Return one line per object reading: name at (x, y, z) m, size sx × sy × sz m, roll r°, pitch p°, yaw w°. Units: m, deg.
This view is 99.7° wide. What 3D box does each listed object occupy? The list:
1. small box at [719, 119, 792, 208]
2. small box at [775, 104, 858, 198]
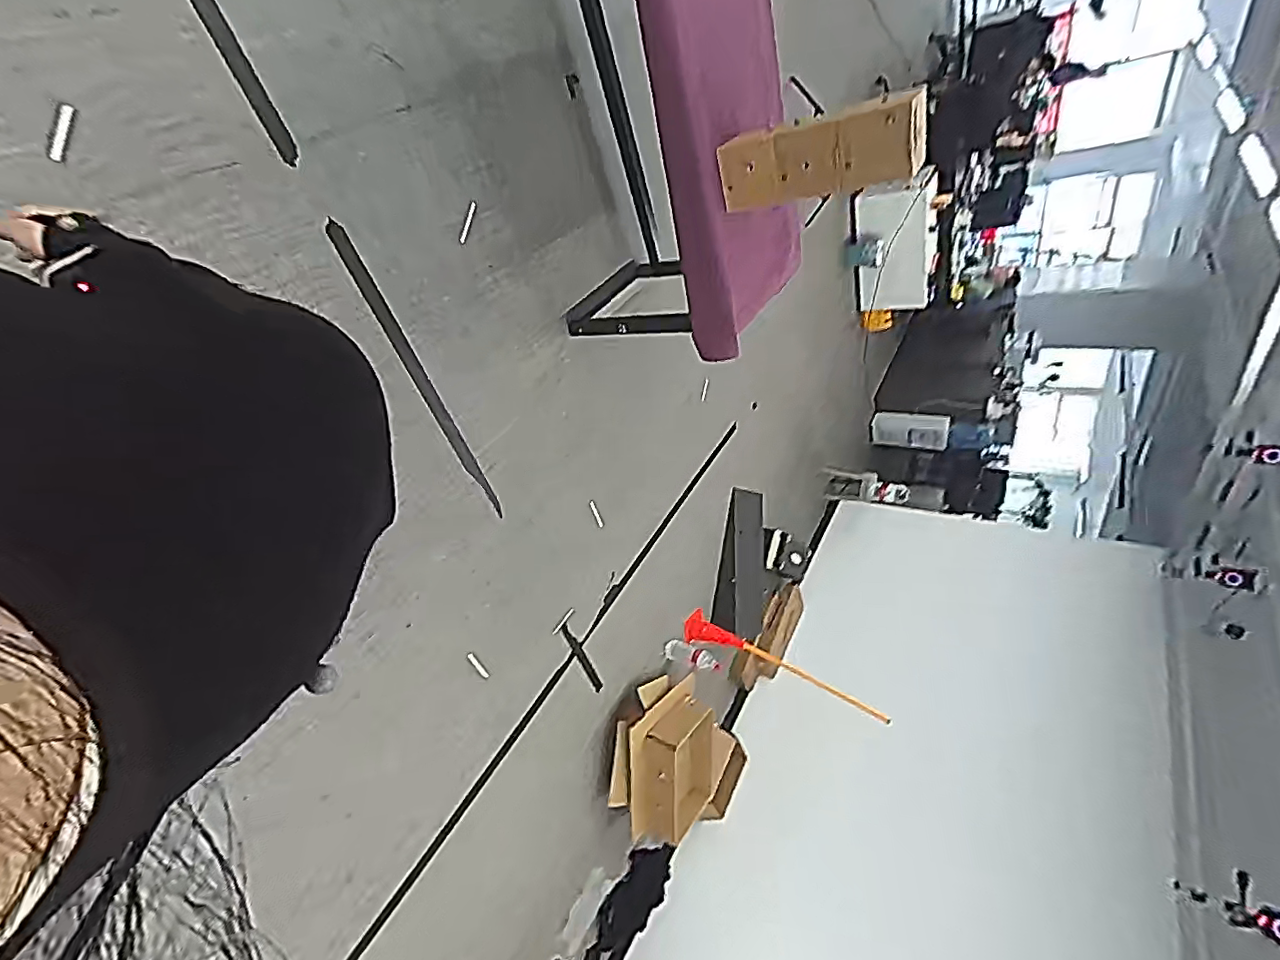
small box at (0.336, -0.896, 1.540) m, size 0.179 × 0.176 × 0.168 m, roll -51°, pitch 135°, yaw -36°
small box at (0.471, -0.877, 1.449) m, size 0.179 × 0.176 × 0.168 m, roll -50°, pitch 135°, yaw -36°
